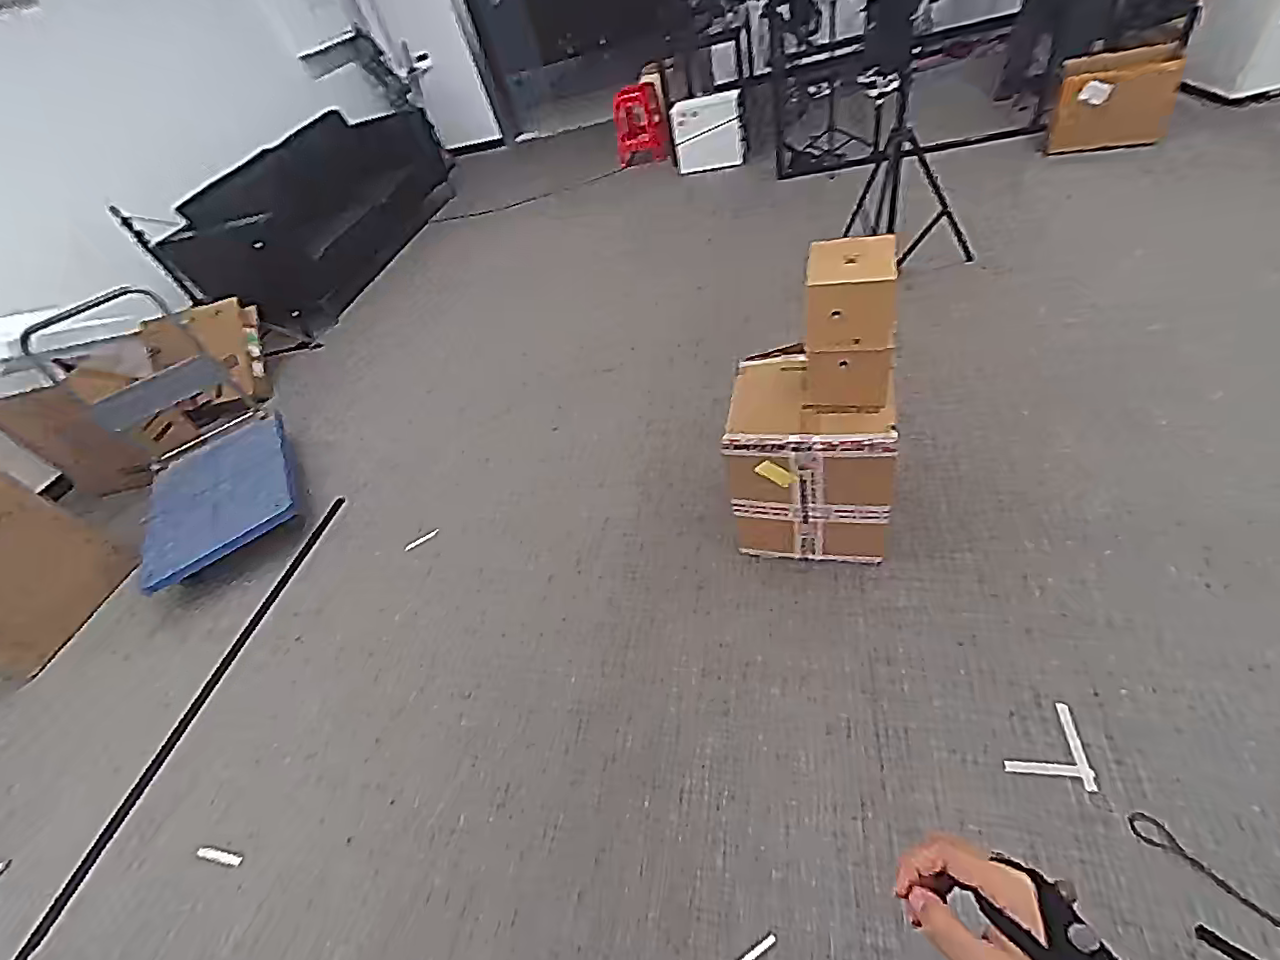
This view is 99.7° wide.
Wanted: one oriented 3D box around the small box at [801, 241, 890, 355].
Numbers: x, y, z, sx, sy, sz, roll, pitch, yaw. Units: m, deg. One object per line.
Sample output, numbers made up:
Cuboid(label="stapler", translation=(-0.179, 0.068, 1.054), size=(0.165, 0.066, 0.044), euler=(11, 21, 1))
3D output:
Cuboid(label="small box", translation=(0.436, -0.381, 1.153), size=(0.168, 0.176, 0.179), euler=(2, 49, 19))

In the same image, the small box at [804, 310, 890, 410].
Cuboid(label="small box", translation=(0.485, -0.280, 1.271), size=(0.179, 0.176, 0.168), euler=(5, 51, 20))
